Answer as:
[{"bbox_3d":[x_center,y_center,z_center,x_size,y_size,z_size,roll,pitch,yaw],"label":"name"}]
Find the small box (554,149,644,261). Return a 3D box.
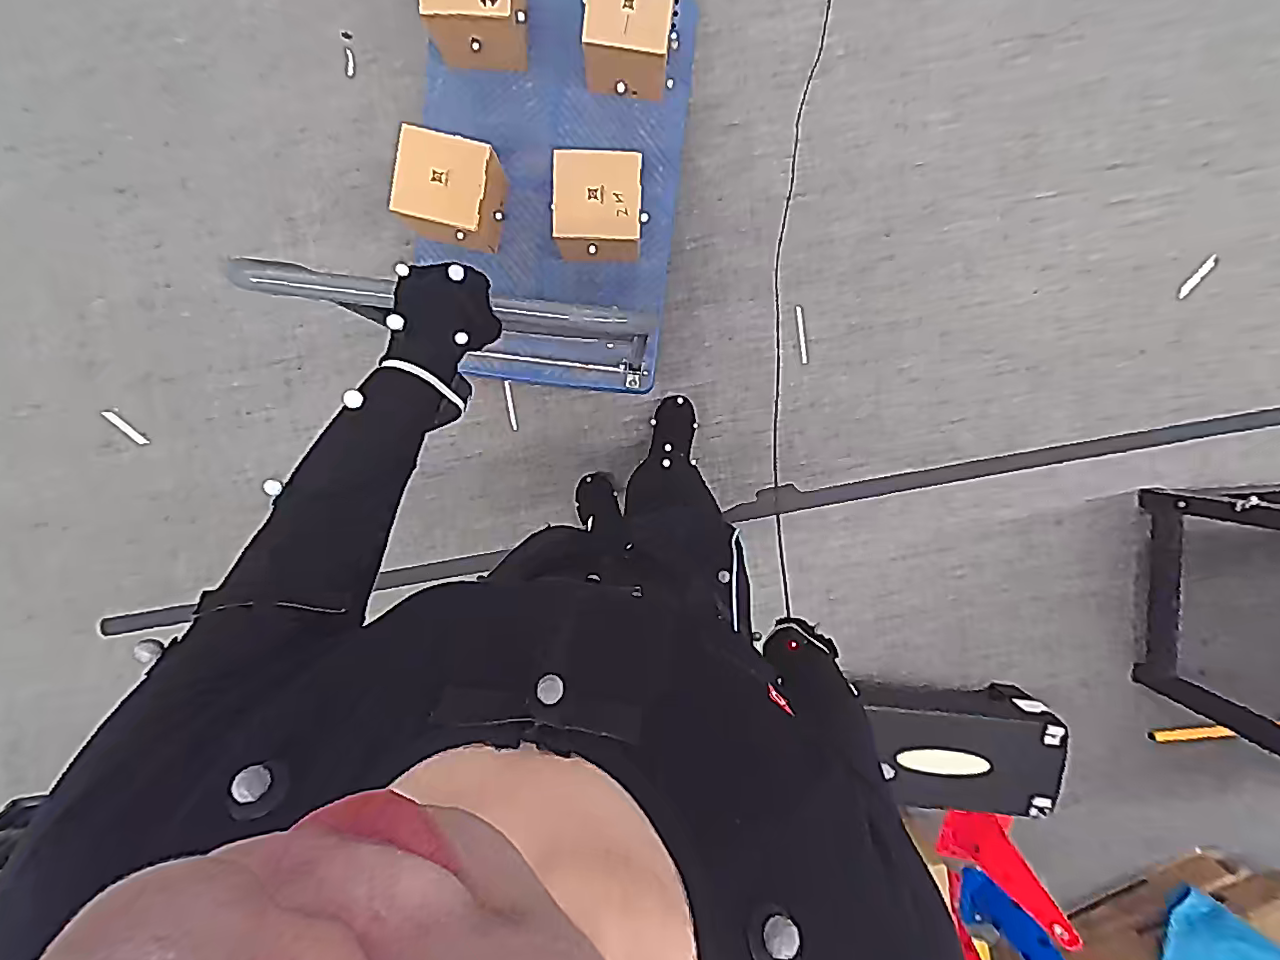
[{"bbox_3d":[-0.081,-0.571,1.143,0.179,0.176,0.168,1,97,-1],"label":"small box"}]

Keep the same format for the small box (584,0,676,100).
[{"bbox_3d":[-0.017,-0.922,1.100,0.168,0.176,0.179,7,98,-2],"label":"small box"}]

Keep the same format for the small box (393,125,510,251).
[{"bbox_3d":[-0.388,-0.600,1.134,0.179,0.176,0.168,11,97,-4],"label":"small box"}]
